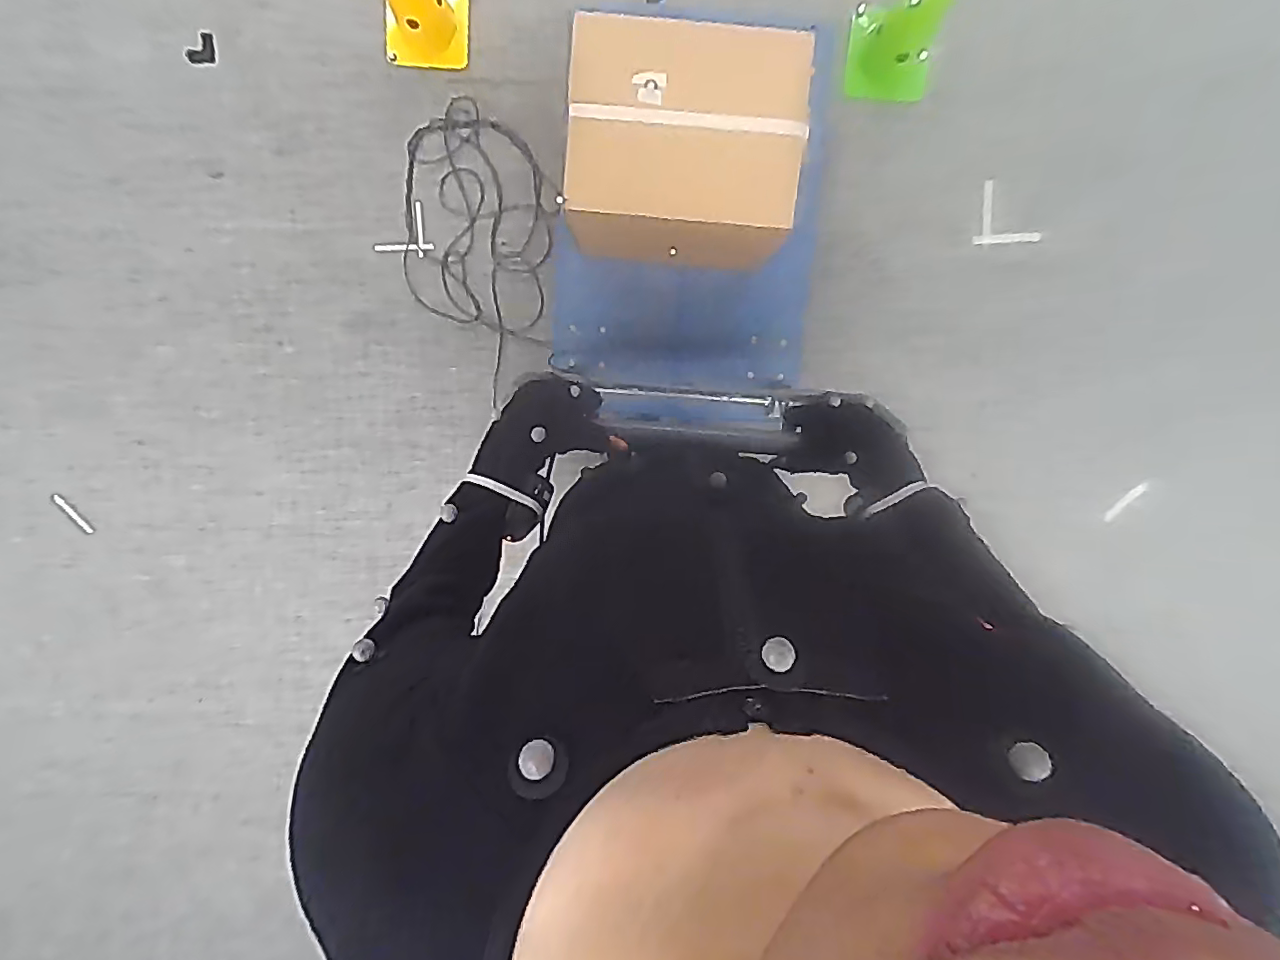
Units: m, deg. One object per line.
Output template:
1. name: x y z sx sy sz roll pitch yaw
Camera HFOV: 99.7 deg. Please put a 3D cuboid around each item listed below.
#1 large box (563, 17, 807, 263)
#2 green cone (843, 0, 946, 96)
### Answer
1. large box: 0.077 -0.631 1.068 0.408 0.320 0.320 5 98 0
2. green cone: 0.608 -1.033 1.157 0.202 0.368 0.200 4 98 -2
